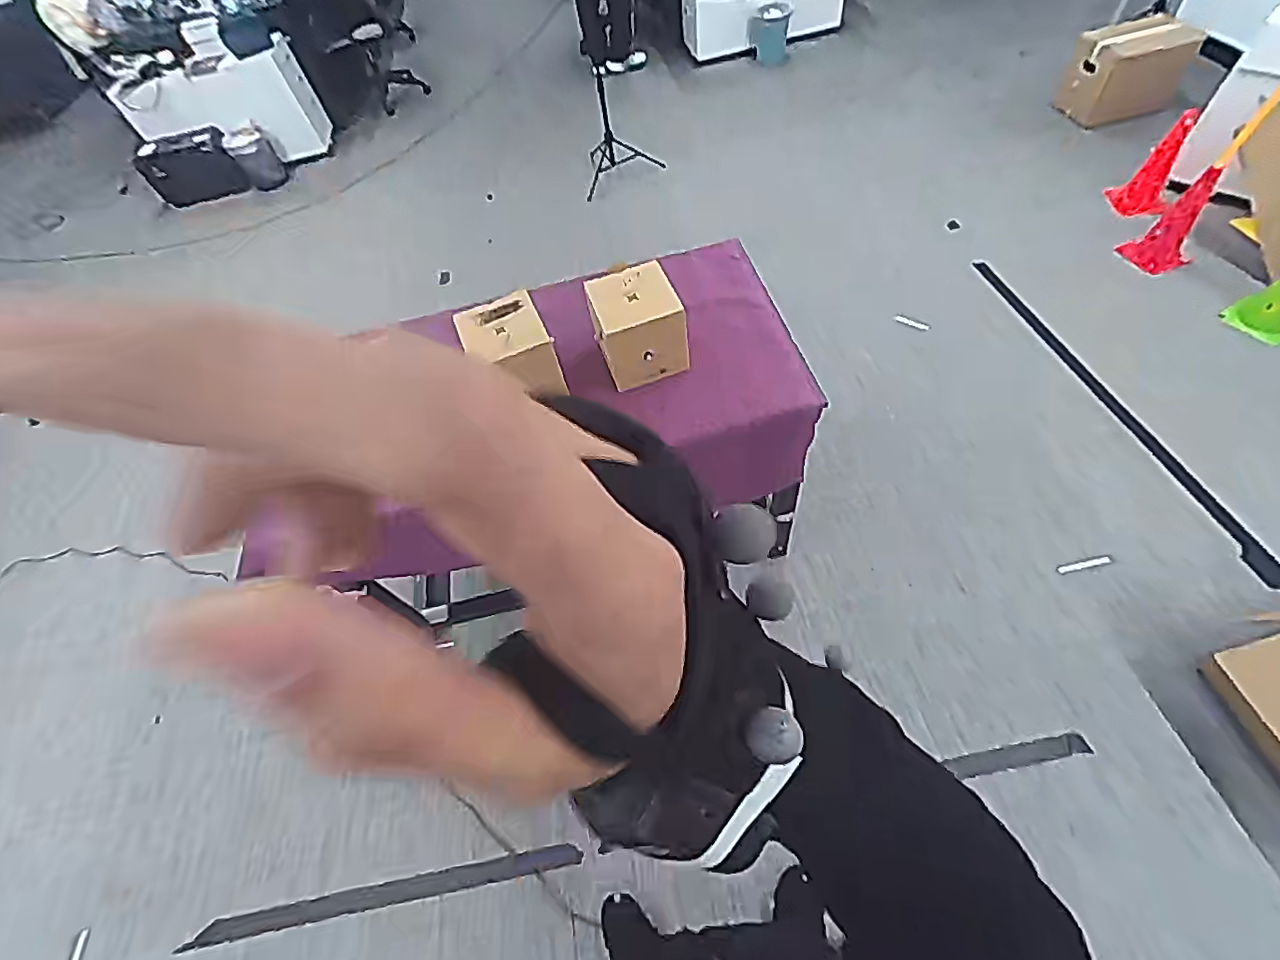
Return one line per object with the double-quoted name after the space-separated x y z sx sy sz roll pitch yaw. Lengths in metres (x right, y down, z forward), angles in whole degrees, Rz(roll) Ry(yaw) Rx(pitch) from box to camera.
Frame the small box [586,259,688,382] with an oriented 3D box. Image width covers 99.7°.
-0.002 -0.330 1.152 0.168 0.176 0.179 -18 56 -3 "small box"
